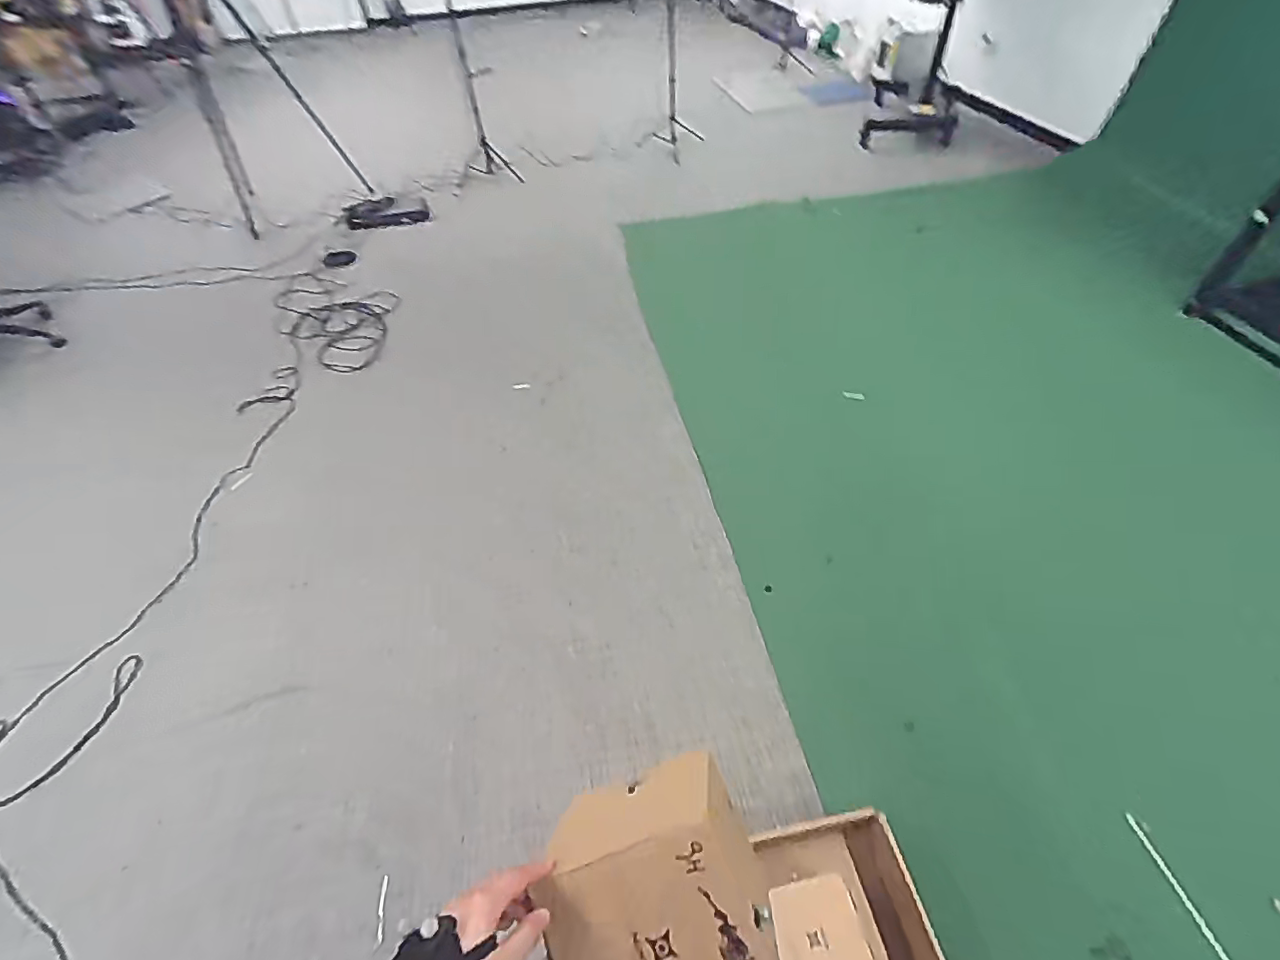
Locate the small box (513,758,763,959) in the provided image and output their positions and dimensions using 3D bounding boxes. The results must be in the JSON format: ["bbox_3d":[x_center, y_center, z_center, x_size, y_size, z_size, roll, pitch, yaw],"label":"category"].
[{"bbox_3d":[0.011,0.403,0.521,0.179,0.176,0.168,-25,80,4],"label":"small box"}]
